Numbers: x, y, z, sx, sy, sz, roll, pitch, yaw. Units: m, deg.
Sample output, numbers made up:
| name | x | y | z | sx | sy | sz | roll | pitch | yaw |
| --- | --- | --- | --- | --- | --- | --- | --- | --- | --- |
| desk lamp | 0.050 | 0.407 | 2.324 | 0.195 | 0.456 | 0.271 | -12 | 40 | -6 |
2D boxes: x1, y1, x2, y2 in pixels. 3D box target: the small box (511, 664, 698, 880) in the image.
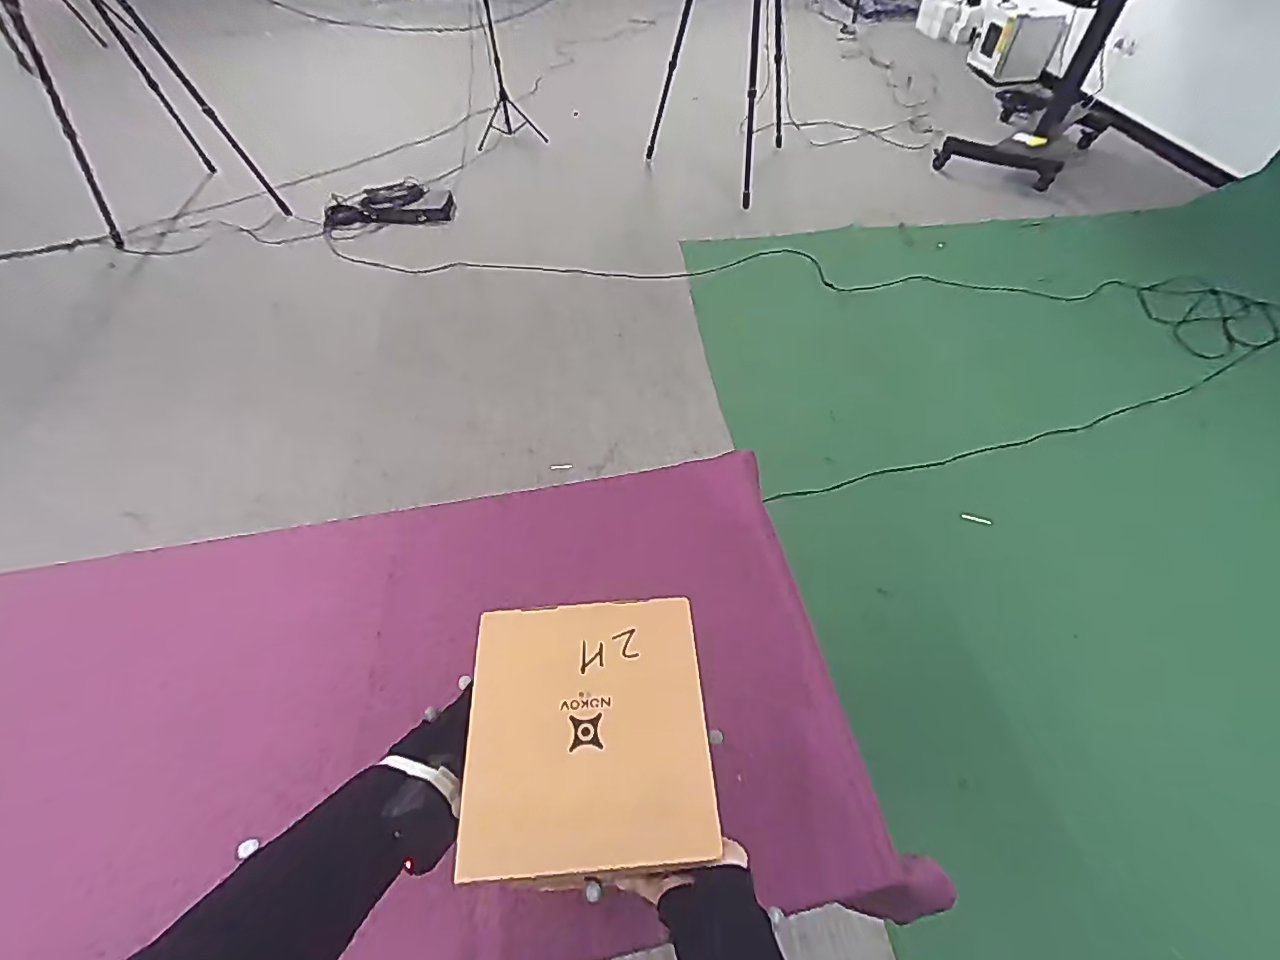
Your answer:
| name | x | y | z | sx | sy | sz | roll | pitch | yaw |
| --- | --- | --- | --- | --- | --- | --- | --- | --- | --- |
| small box | -0.034 | 0.314 | 0.579 | 0.168 | 0.176 | 0.179 | -3 | 53 | -1 |
